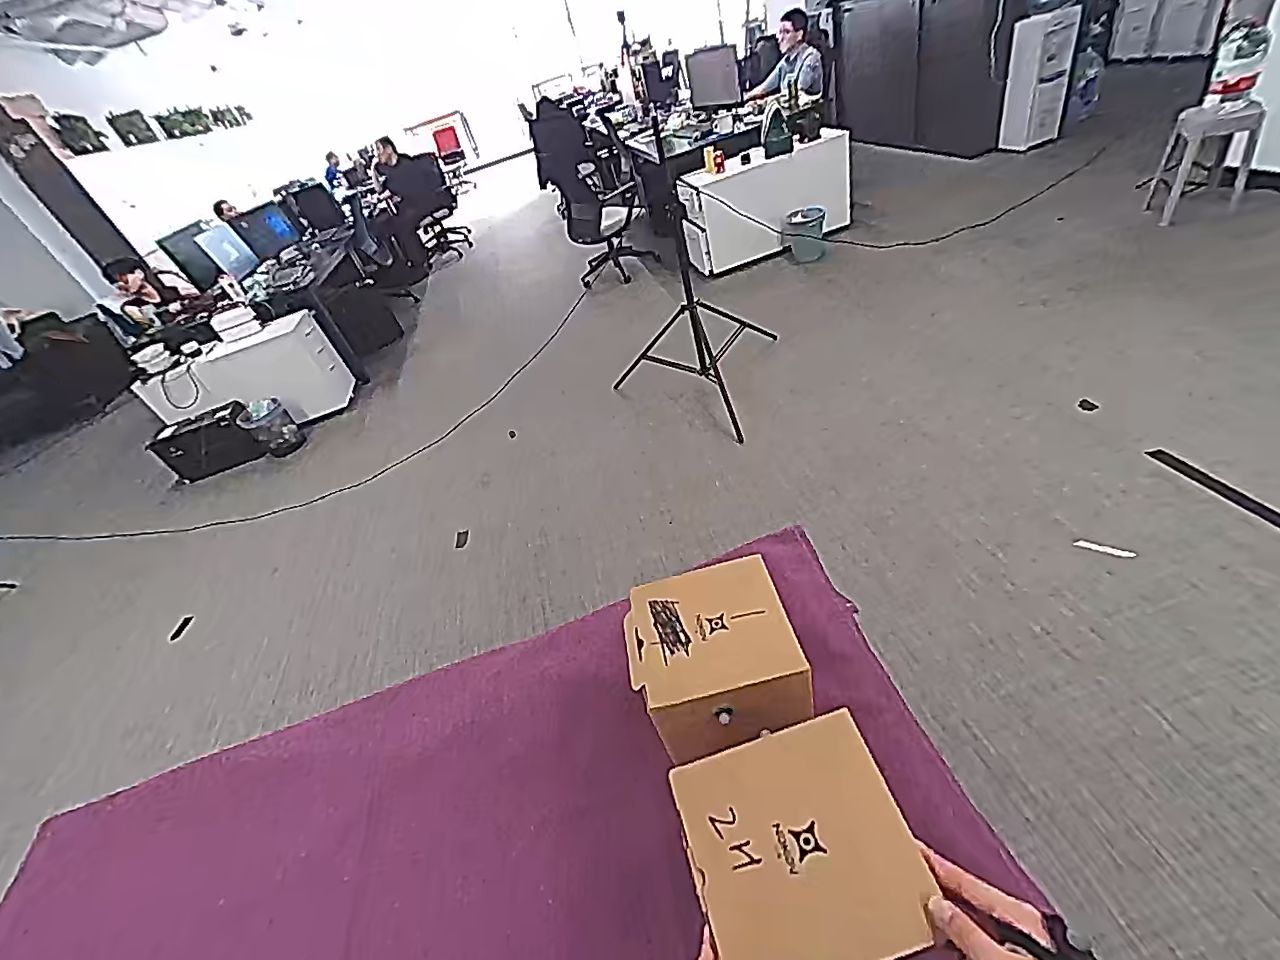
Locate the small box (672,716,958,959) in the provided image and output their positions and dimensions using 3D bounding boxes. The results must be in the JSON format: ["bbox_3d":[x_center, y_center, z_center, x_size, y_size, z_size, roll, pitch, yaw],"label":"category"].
[{"bbox_3d":[0.146,0.347,0.498,0.179,0.176,0.168,-20,48,1],"label":"small box"}]

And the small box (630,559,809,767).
[{"bbox_3d":[0.099,0.231,0.677,0.179,0.176,0.168,-15,40,2],"label":"small box"}]
